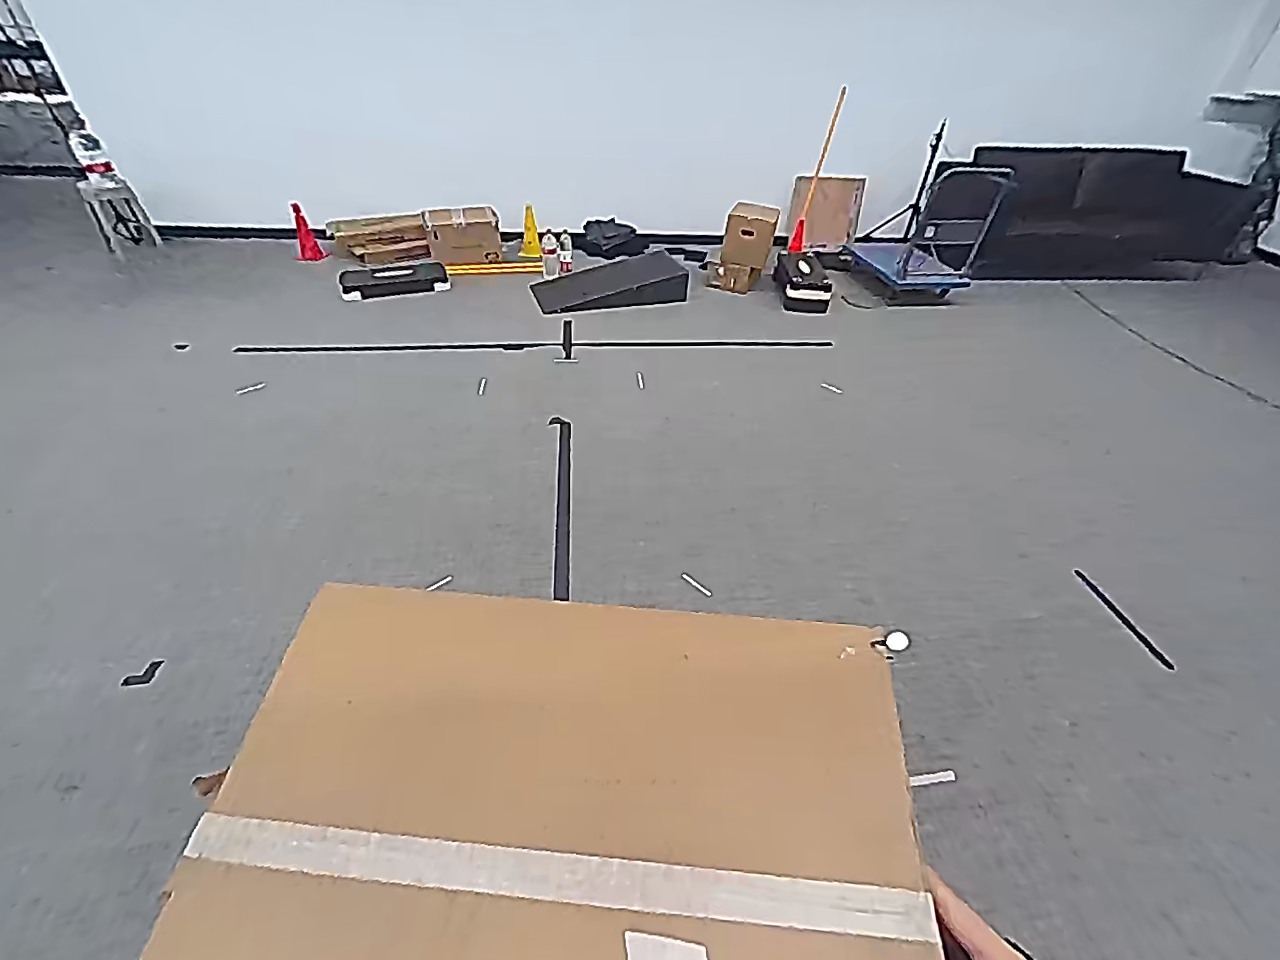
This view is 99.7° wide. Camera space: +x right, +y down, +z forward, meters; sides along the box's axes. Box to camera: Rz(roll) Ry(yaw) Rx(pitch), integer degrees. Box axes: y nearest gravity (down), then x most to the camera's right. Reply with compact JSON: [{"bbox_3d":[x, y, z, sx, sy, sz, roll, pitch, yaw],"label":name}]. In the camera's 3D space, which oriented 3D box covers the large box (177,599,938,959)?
[{"bbox_3d":[-0.040,0.310,0.423,0.408,0.320,0.320,4,55,3],"label":"large box"}]
